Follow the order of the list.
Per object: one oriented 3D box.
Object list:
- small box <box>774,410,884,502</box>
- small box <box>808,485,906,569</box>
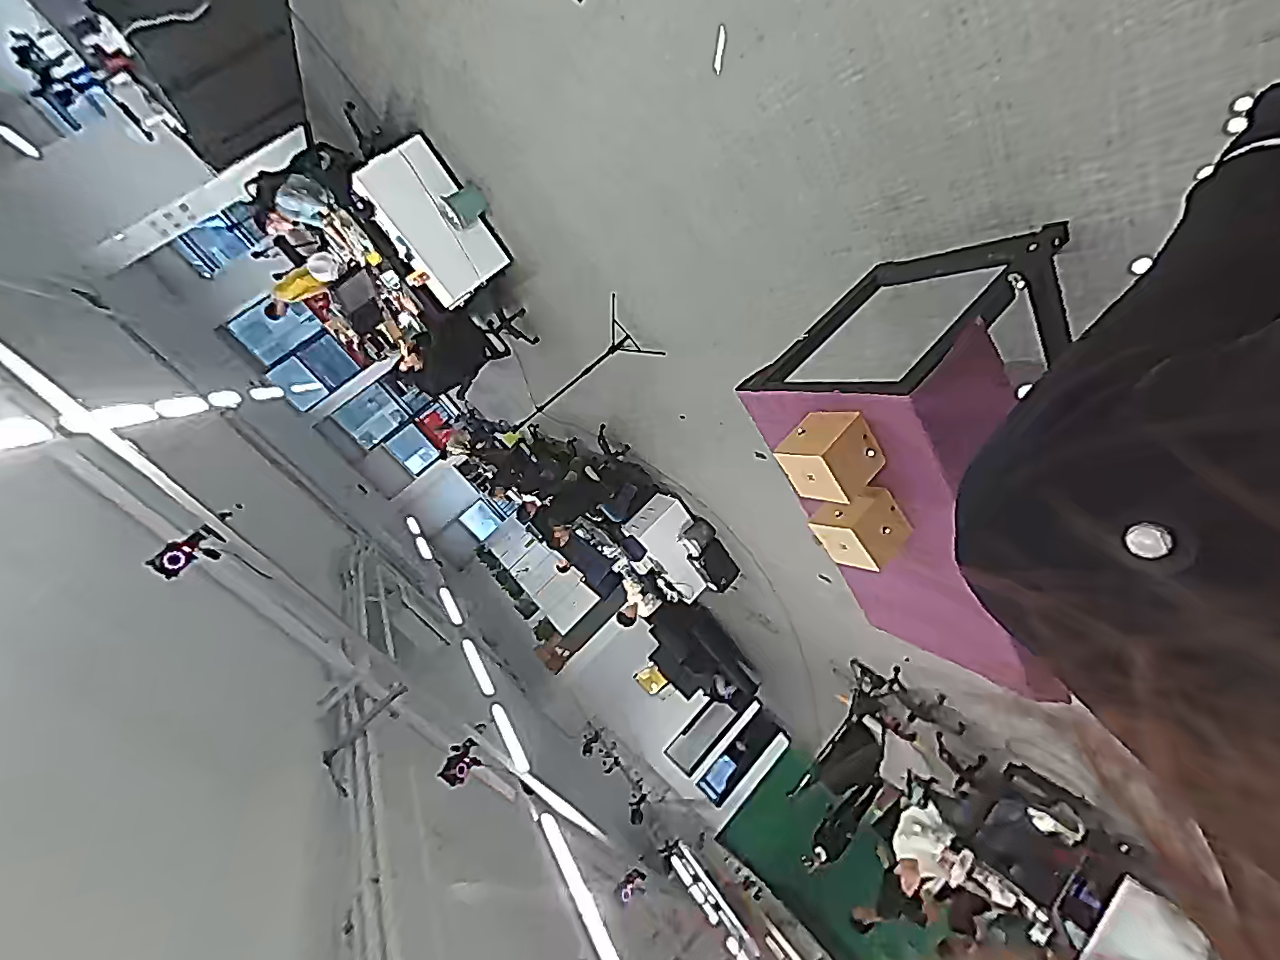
[{"bbox_3d":[0.493,-0.069,1.410,0.168,0.176,0.179,52,165,-22],"label":"small box"},{"bbox_3d":[0.628,0.125,1.546,0.168,0.176,0.179,51,165,-16],"label":"small box"}]
